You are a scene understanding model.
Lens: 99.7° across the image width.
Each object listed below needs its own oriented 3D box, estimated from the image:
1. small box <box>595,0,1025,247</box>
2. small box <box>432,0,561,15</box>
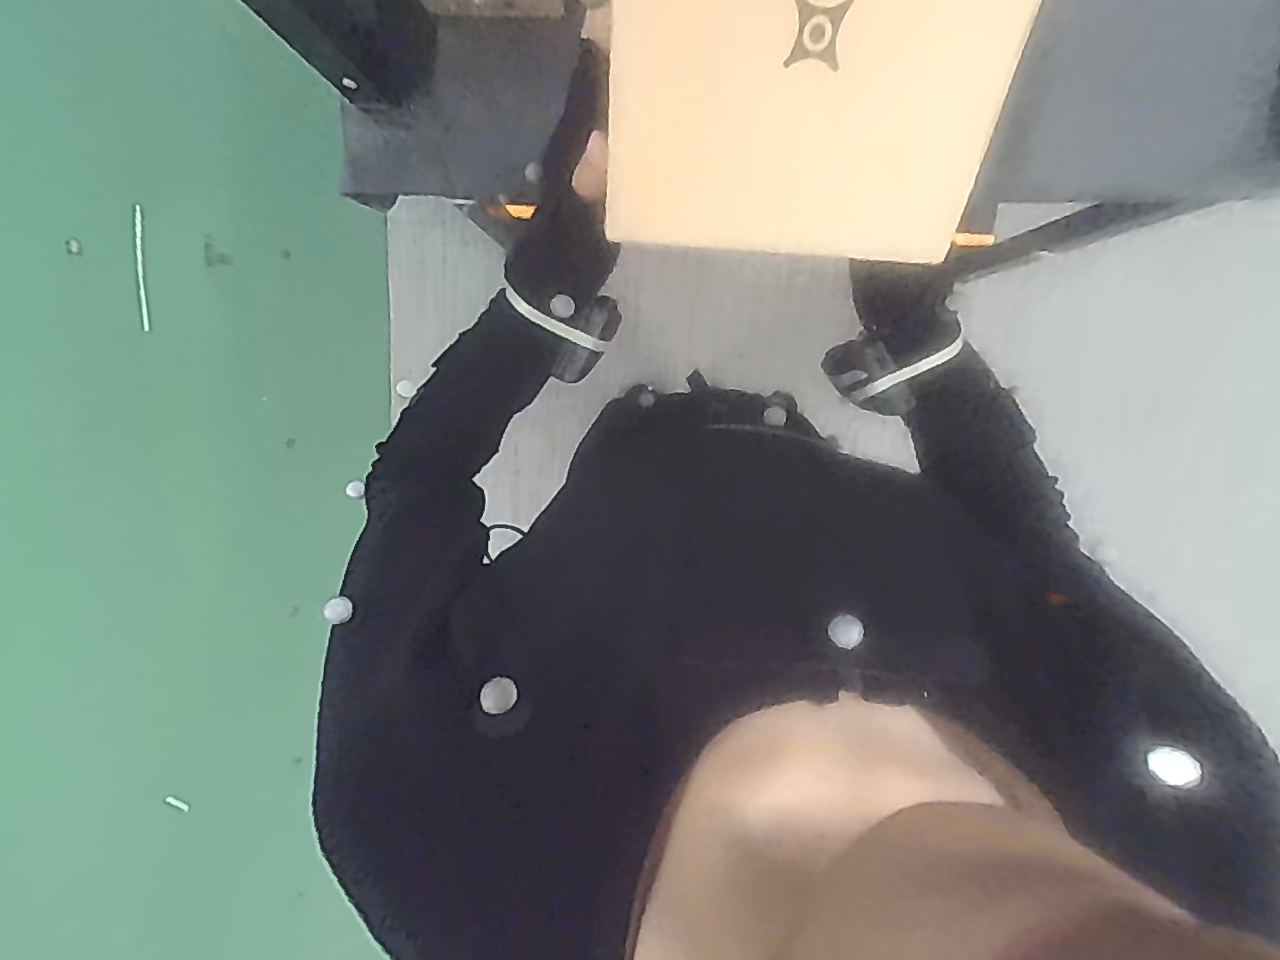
[{"bbox_3d":[0.068,-0.233,0.274,0.168,0.176,0.179,3,124,-1],"label":"small box"},{"bbox_3d":[-0.172,-0.628,0.549,0.168,0.176,0.179,1,100,1],"label":"small box"}]
